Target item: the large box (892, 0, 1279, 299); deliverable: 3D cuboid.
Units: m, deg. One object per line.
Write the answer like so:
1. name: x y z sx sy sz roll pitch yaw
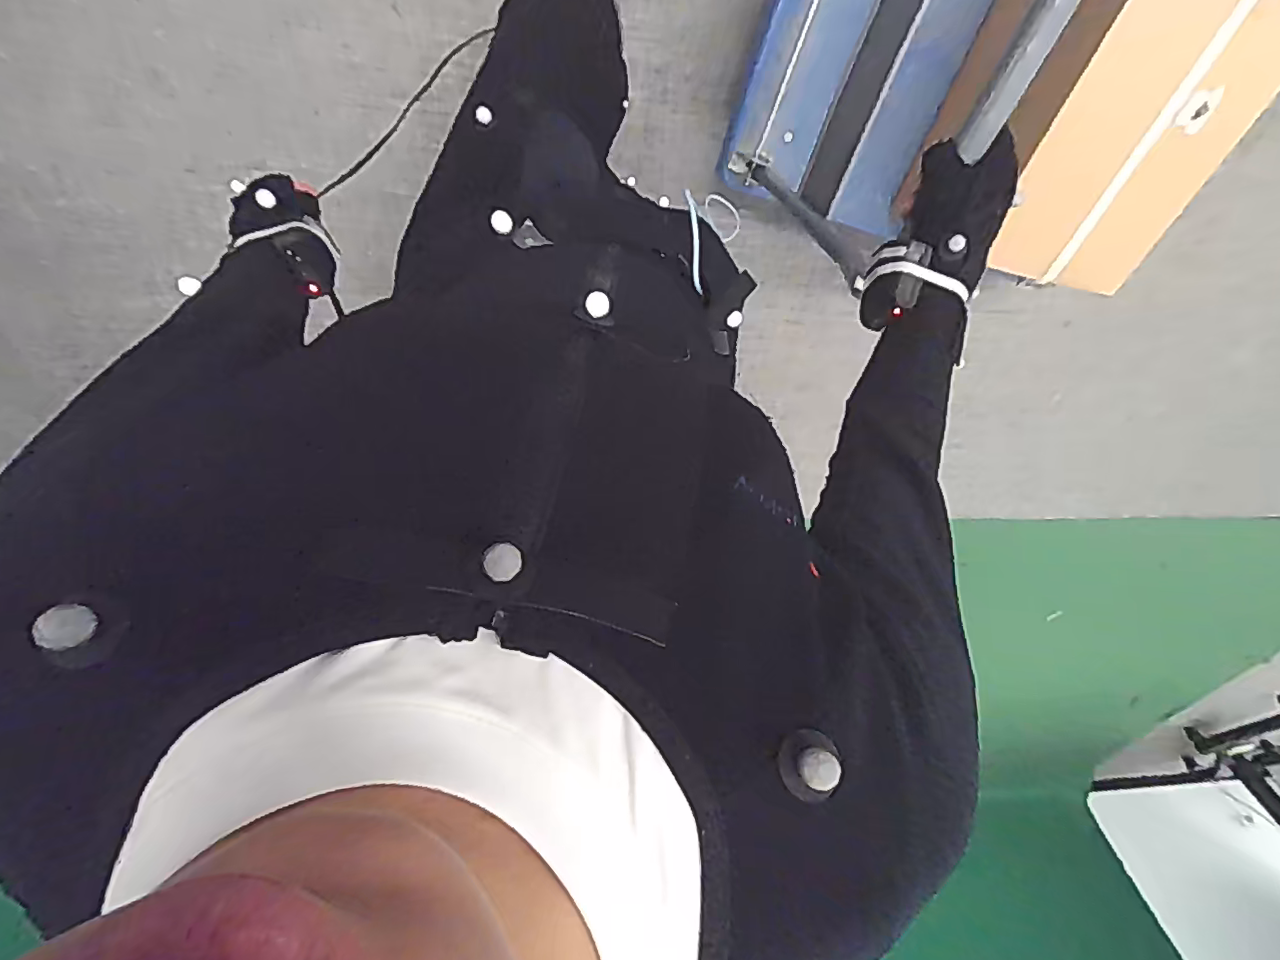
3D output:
1. large box: 0.724 -0.585 0.937 0.320 0.320 0.408 7 129 -13
